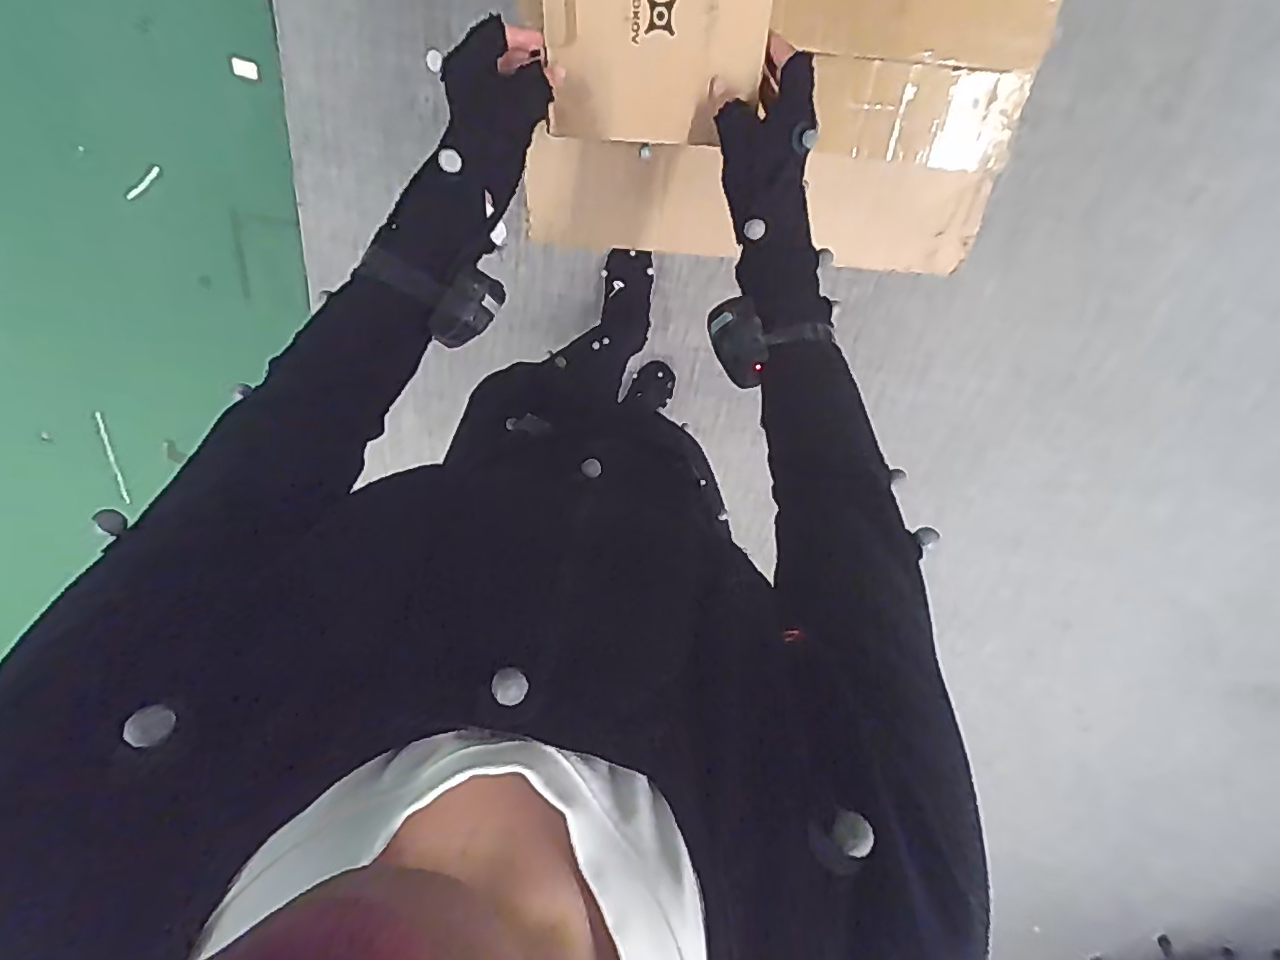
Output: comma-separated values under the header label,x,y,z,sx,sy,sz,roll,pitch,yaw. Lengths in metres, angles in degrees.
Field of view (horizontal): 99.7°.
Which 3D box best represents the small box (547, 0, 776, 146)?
label,x,y,z,sx,sy,sz,roll,pitch,yaw
small box,0.018,-0.398,0.480,0.179,0.176,0.168,2,124,0
